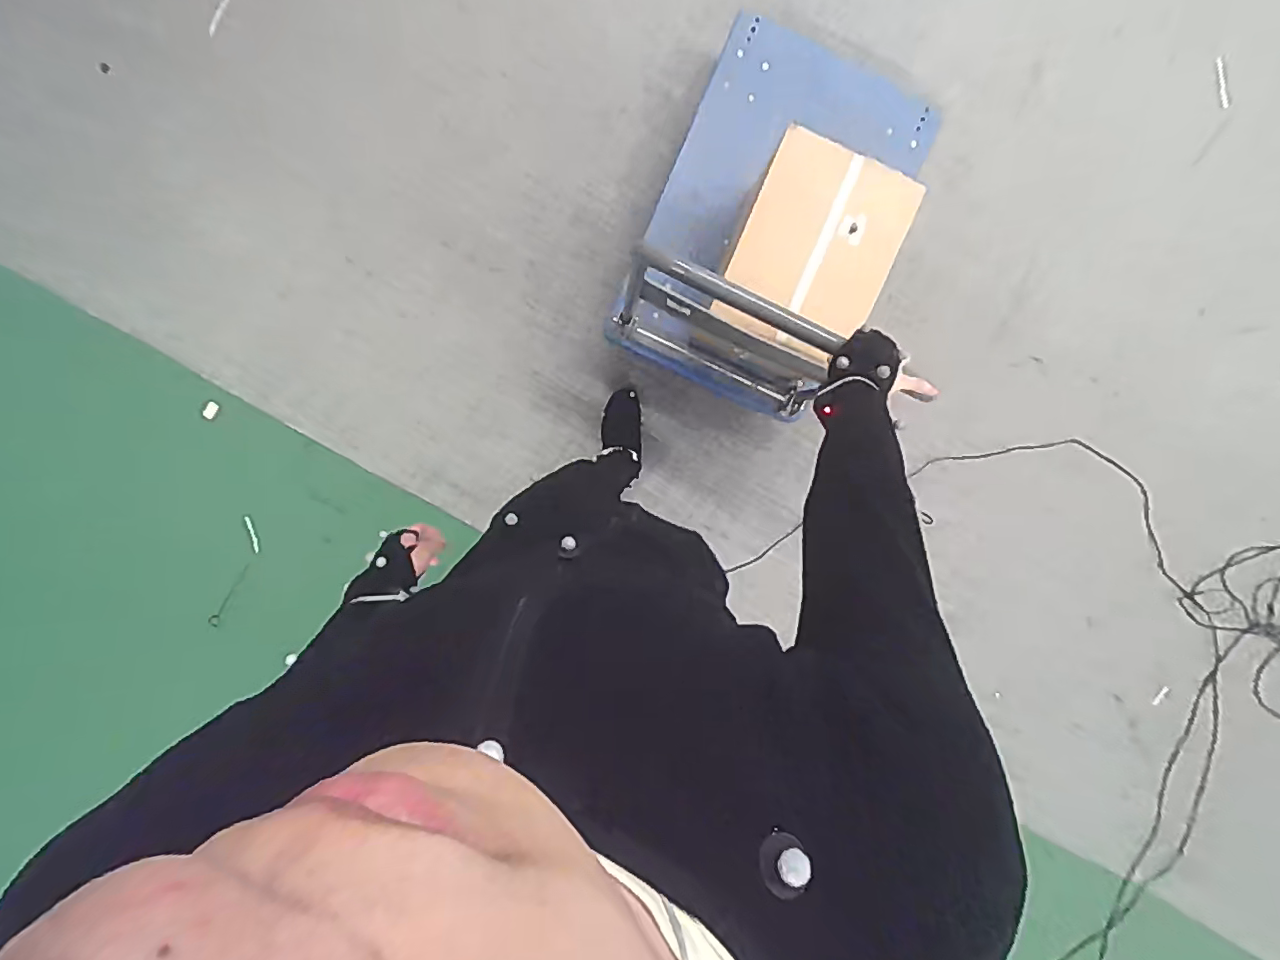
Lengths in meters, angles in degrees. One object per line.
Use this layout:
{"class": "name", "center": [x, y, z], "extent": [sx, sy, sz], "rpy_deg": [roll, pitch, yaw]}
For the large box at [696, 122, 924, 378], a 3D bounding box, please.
{"class": "large box", "center": [0.358, -0.488, 1.247], "extent": [0.320, 0.320, 0.408], "rpy_deg": [23, 94, -6]}
